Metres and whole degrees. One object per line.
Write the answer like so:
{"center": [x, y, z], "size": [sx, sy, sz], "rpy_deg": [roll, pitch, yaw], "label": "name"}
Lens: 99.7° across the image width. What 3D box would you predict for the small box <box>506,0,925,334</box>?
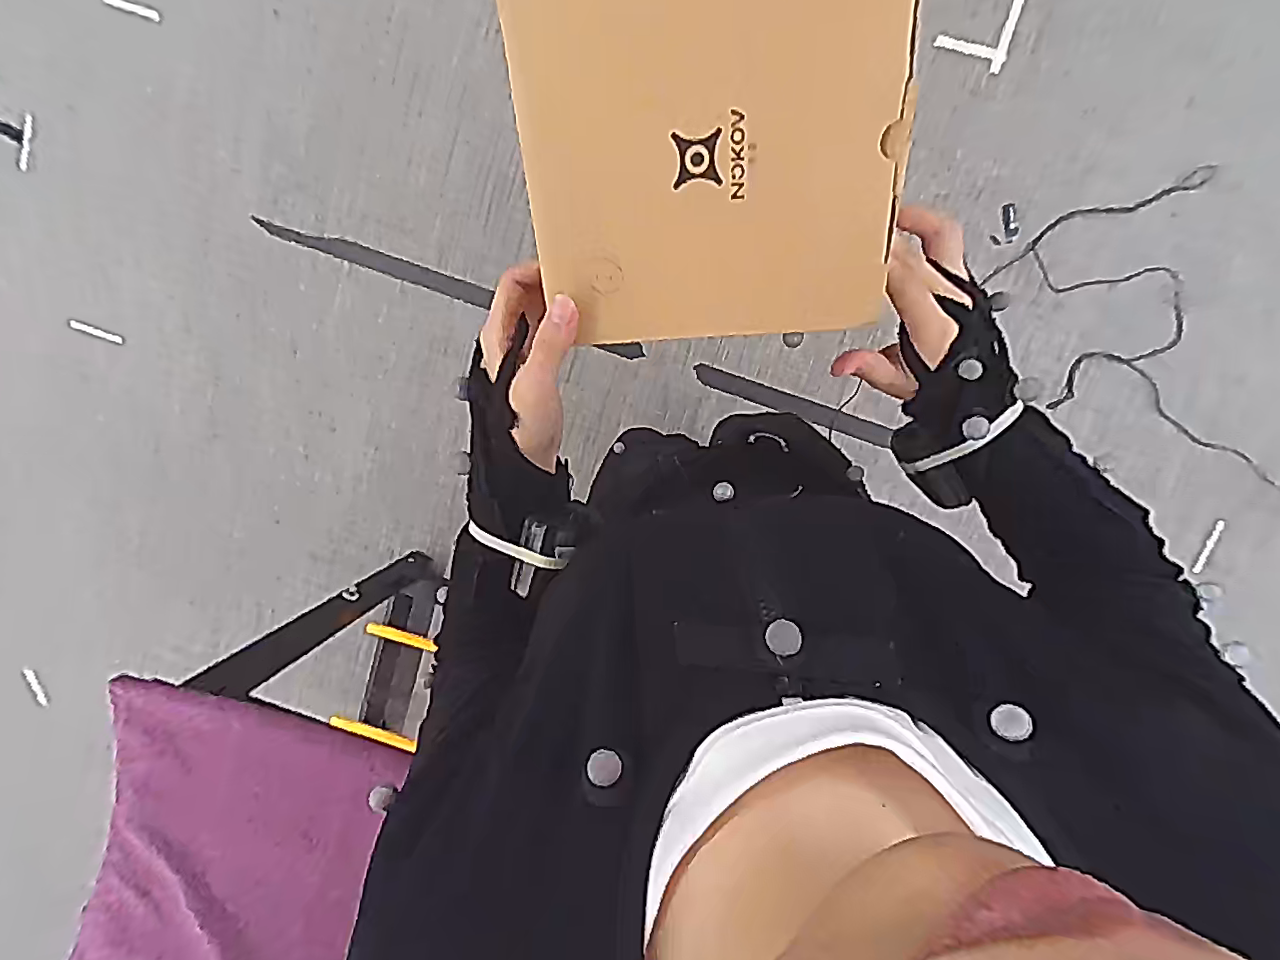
{"center": [0.040, -0.189, 0.319], "size": [0.179, 0.176, 0.168], "rpy_deg": [-2, 118, 6], "label": "small box"}
